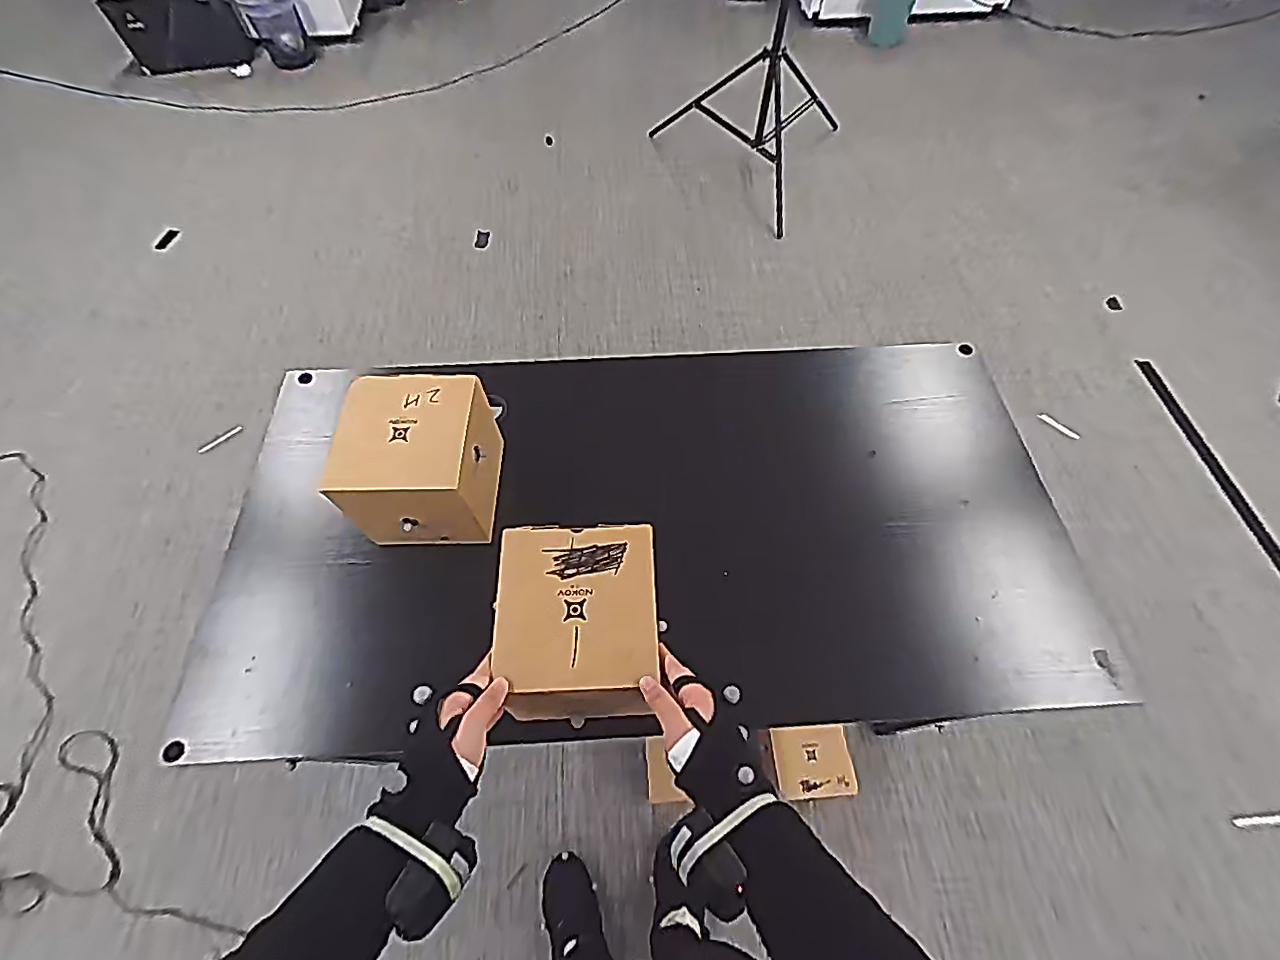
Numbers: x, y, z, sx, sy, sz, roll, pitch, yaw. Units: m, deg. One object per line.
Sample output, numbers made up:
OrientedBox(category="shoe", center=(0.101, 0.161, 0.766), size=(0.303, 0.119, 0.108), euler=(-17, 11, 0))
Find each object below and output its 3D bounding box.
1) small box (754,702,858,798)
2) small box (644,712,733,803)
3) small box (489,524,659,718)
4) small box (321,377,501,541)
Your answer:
OrientedBox(category="small box", center=(0.364, 0.613, 1.224), size=(0.168, 0.176, 0.179), euler=(-5, 60, -2))
OrientedBox(category="small box", center=(0.101, 0.627, 1.221), size=(0.179, 0.176, 0.168), euler=(-4, 60, -1))
OrientedBox(category="small box", center=(-0.068, 0.167, 0.628), size=(0.168, 0.176, 0.179), euler=(-2, 58, -2))
OrientedBox(category="small box", center=(-0.298, -0.022, 0.749), size=(0.168, 0.176, 0.179), euler=(-1, 60, -1))
